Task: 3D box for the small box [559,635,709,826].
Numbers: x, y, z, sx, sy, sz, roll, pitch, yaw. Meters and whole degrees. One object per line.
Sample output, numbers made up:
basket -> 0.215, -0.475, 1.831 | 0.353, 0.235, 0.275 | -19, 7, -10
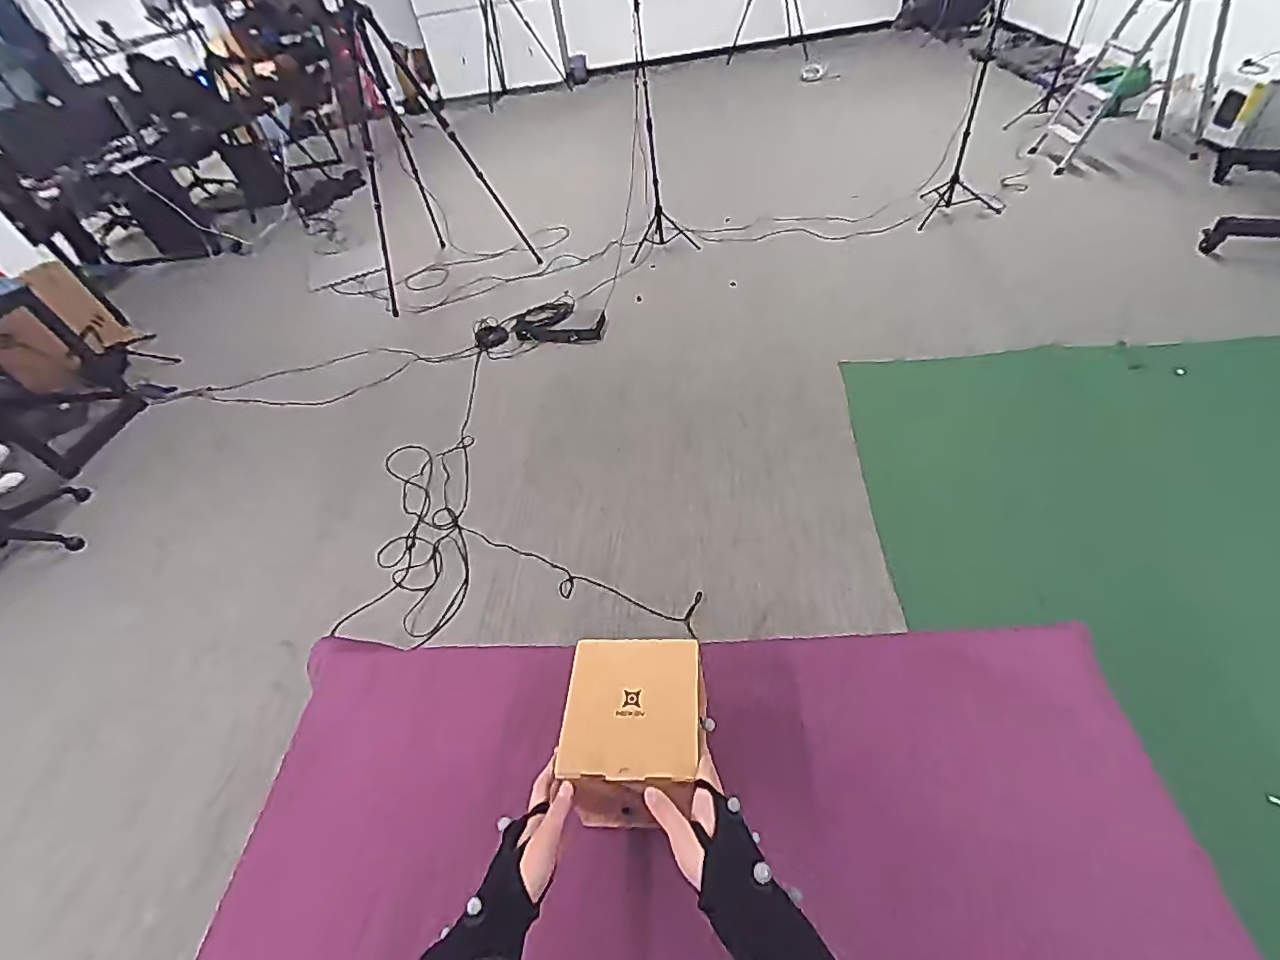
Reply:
small box -> 0.004, 0.324, 0.707 | 0.168, 0.176, 0.179 | -2, 42, 8
